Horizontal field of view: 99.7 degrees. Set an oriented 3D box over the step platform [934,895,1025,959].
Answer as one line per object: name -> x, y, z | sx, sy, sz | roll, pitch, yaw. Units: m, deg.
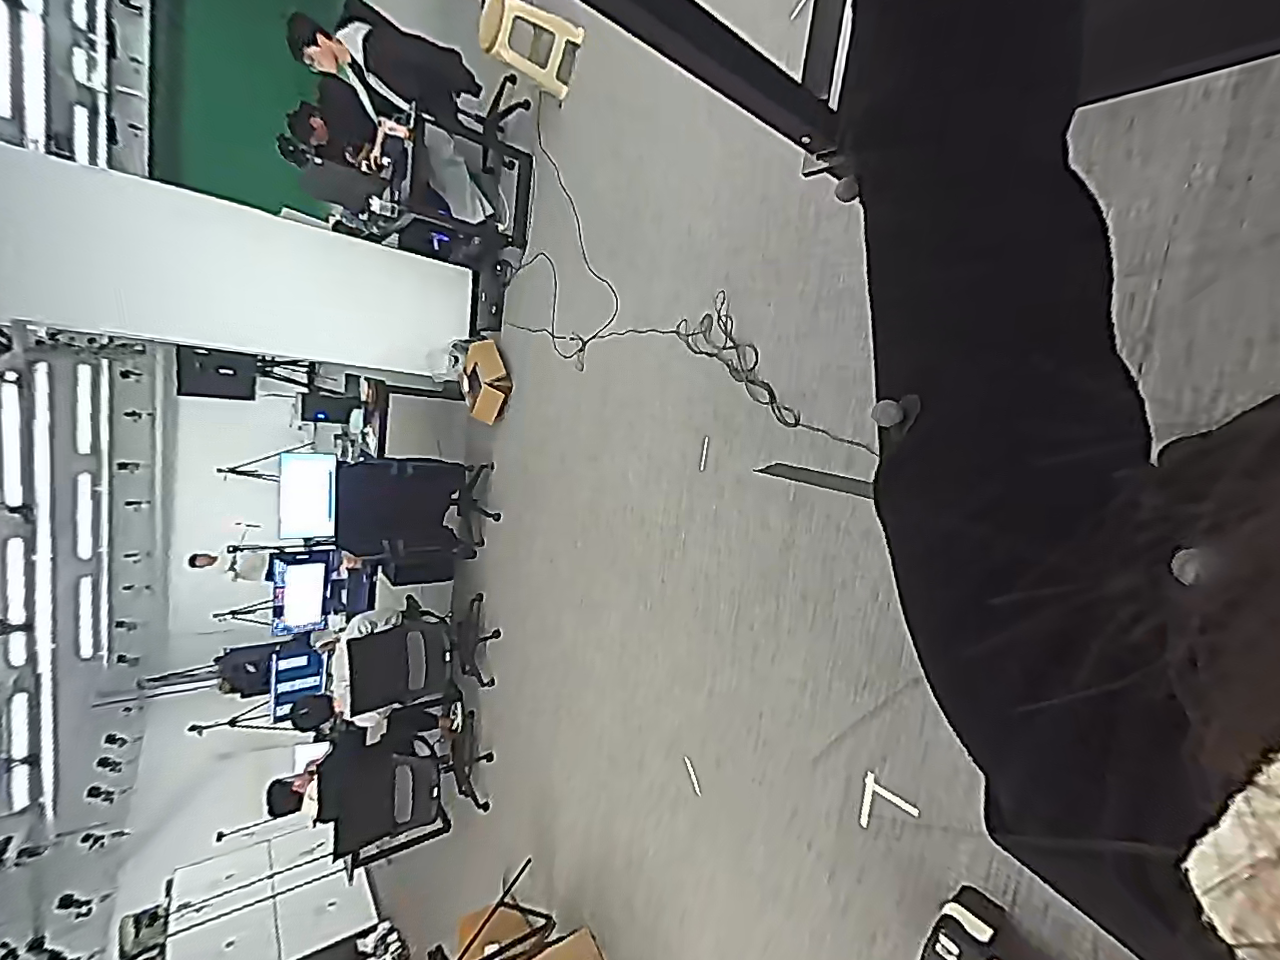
step platform -> 0.952, 1.258, 1.087 | 0.684, 0.204, 0.286 | 26, 109, 48
